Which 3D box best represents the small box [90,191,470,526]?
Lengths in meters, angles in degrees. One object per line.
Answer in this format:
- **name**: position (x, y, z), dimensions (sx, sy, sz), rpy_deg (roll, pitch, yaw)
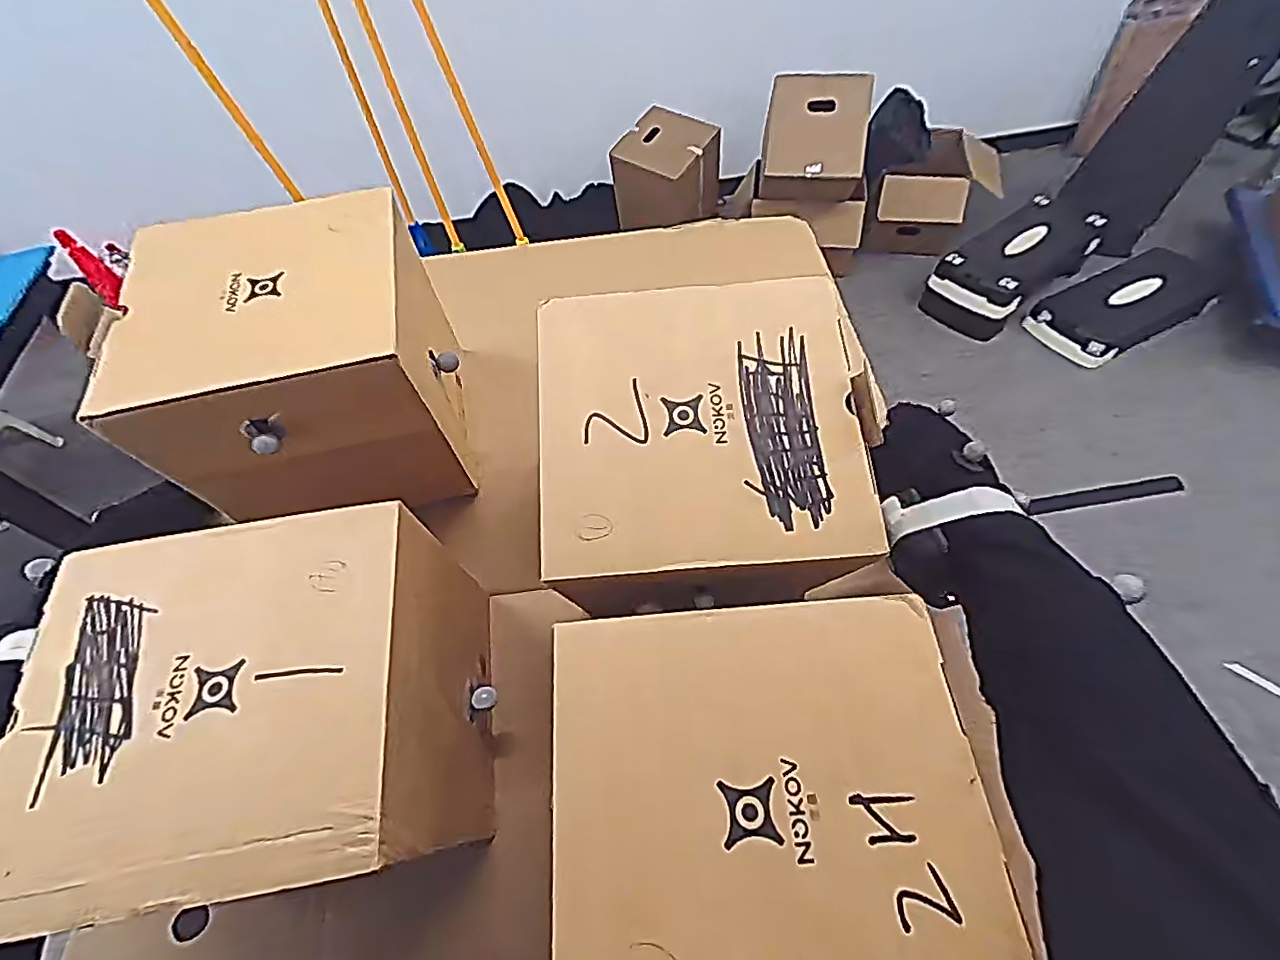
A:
- **small box**: position (-0.241, -0.083, 0.418), dimensions (0.179, 0.176, 0.168), rpy_deg (-13, 61, -4)
